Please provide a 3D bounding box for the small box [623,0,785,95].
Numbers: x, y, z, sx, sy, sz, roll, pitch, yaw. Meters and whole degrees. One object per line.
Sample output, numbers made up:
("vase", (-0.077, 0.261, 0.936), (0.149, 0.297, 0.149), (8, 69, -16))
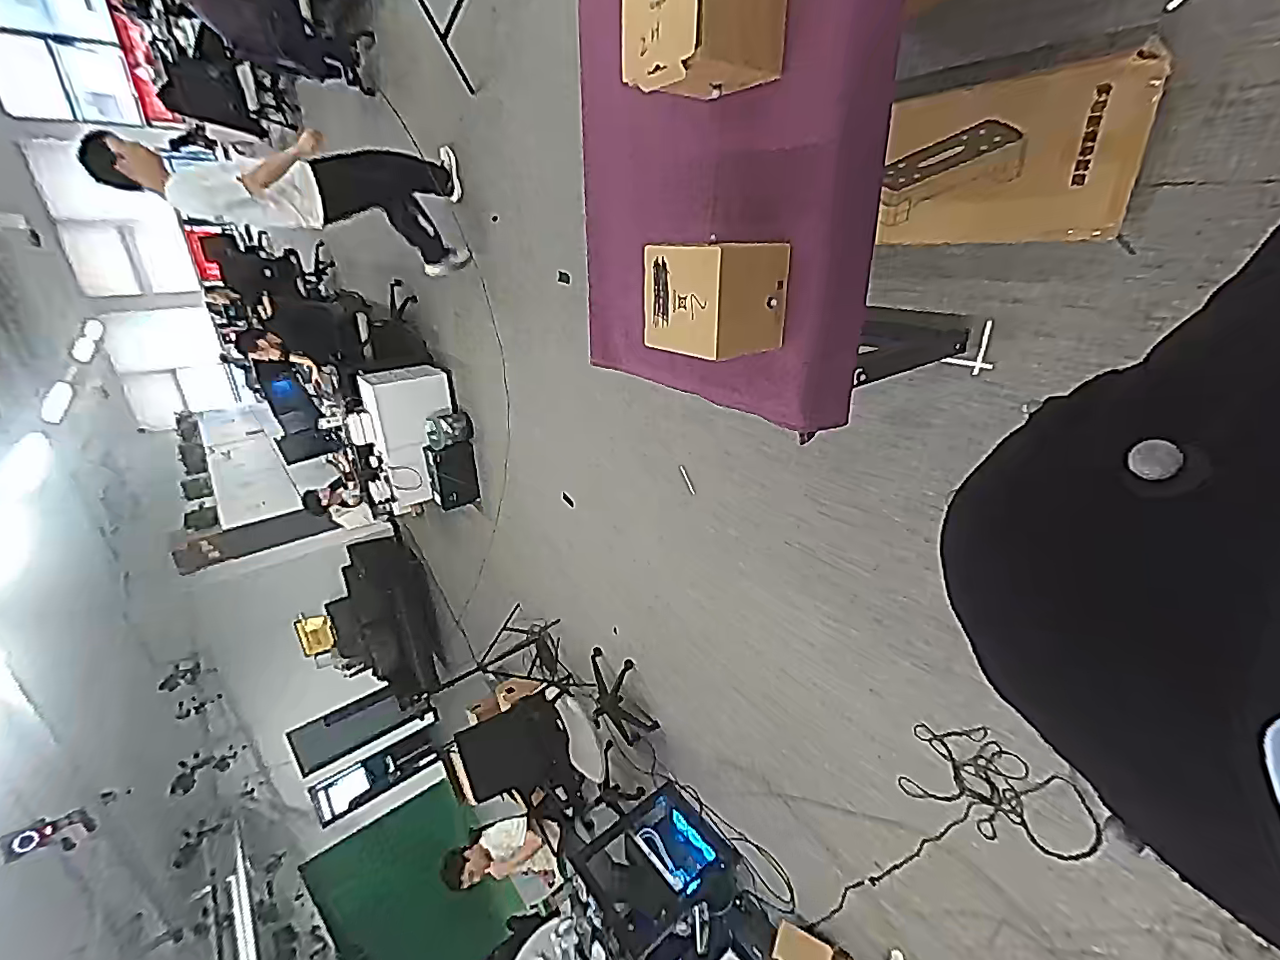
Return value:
("small box", (0.091, -0.675, 0.766), (0.168, 0.176, 0.179), (28, 128, 47))
